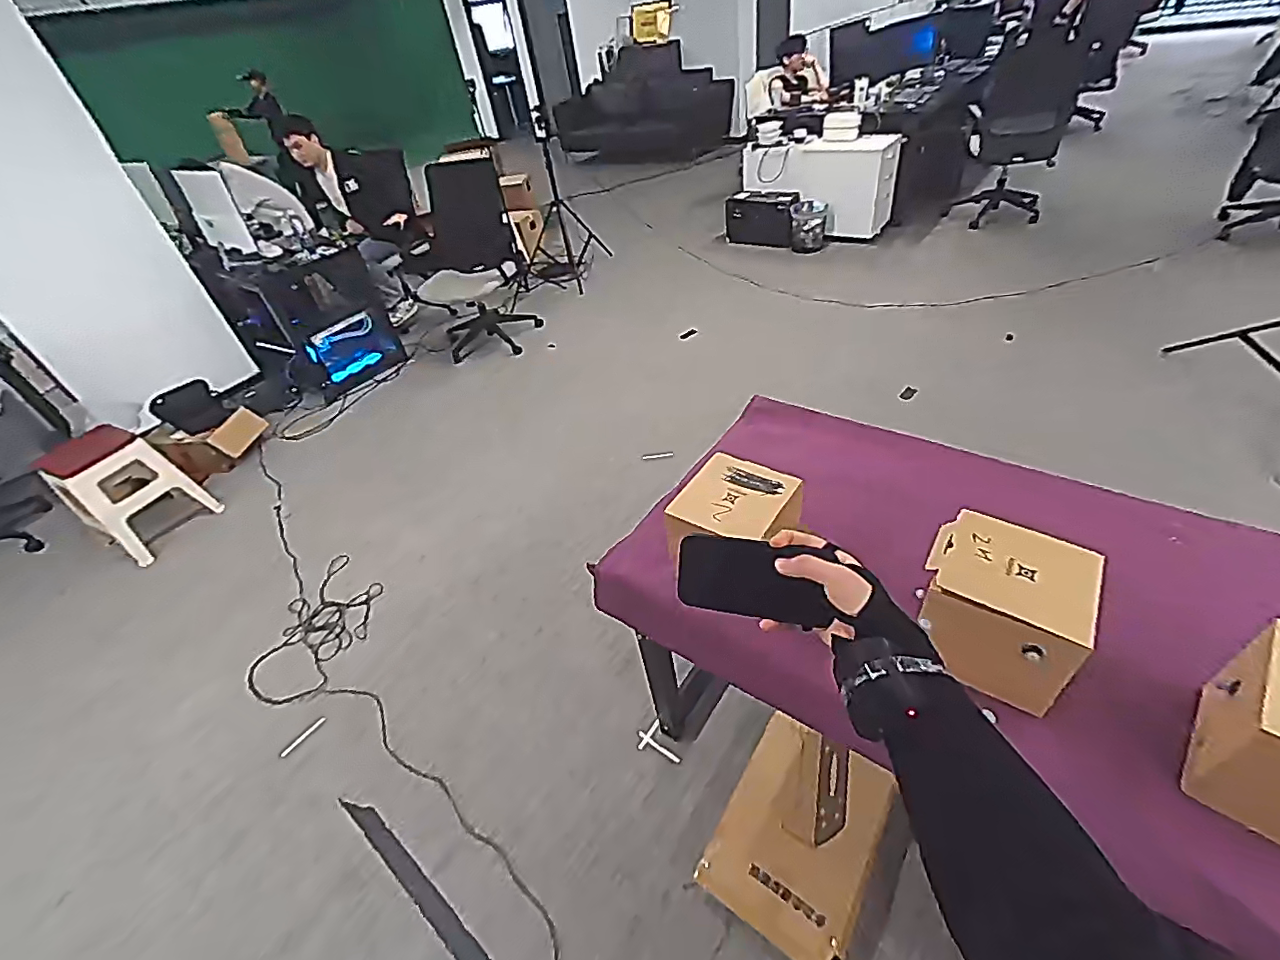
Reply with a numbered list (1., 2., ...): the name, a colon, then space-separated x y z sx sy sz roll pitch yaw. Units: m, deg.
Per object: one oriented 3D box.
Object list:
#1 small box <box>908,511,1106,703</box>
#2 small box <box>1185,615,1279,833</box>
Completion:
1. small box: 0.501 0.178 0.753 0.179 0.176 0.168 20 47 31
2. small box: 0.744 0.288 0.578 0.179 0.176 0.168 27 53 35
